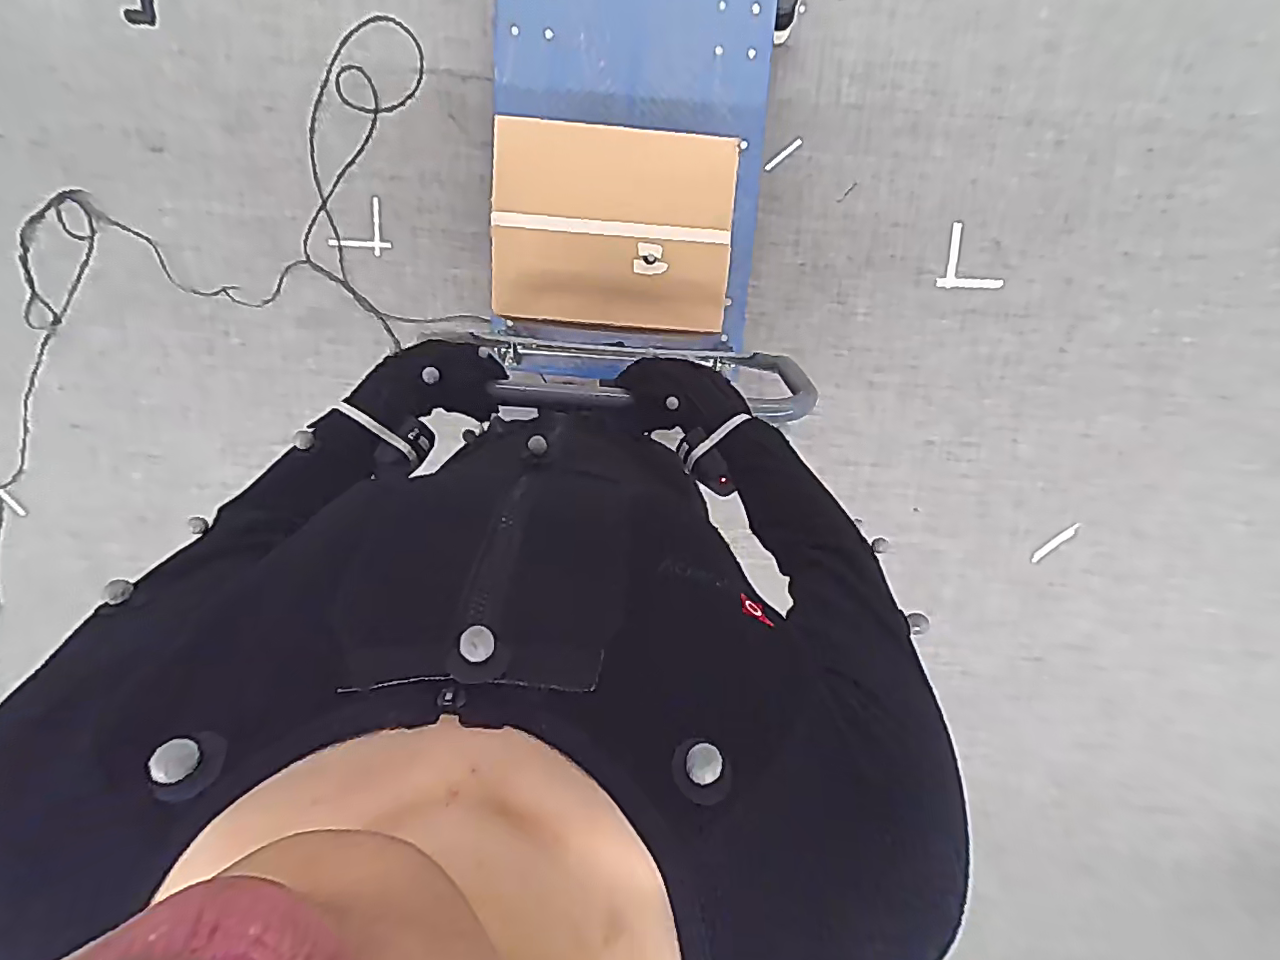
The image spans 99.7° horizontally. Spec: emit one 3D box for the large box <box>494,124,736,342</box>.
[{"bbox_3d":[-0.055,-0.447,1.059,0.408,0.320,0.320,3,102,-3],"label":"large box"}]
